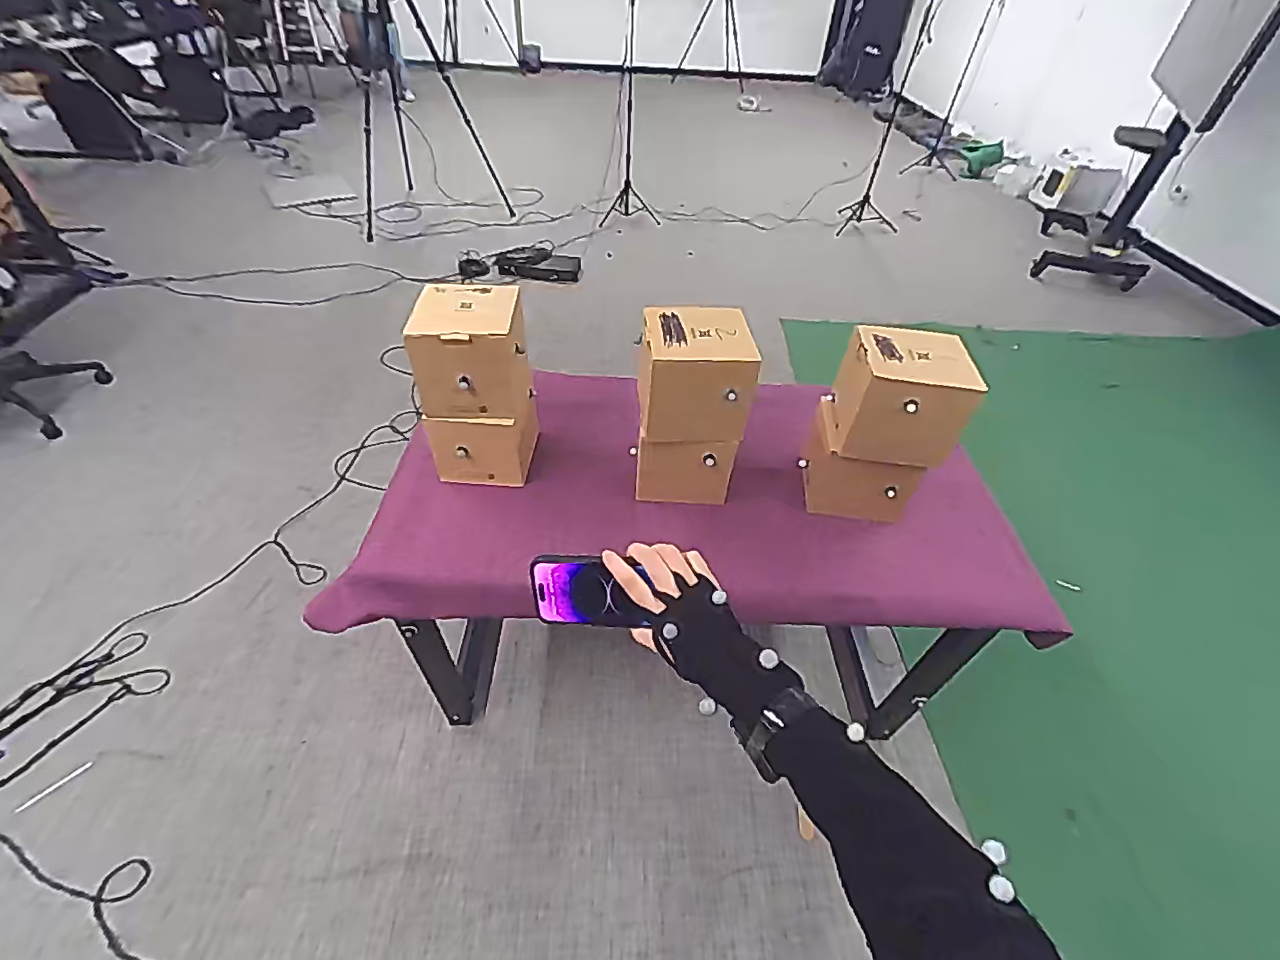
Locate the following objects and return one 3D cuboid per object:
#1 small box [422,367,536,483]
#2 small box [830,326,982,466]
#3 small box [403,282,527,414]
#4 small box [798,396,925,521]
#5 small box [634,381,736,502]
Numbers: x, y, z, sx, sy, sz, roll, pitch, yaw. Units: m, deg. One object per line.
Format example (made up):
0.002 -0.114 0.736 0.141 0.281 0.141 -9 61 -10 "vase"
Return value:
-0.306 -0.112 1.075 0.168 0.176 0.179 4 46 0 "small box"
0.437 -0.142 0.928 0.179 0.176 0.168 8 45 3 "small box"
-0.298 -0.232 0.963 0.168 0.176 0.179 1 46 -4 "small box"
0.421 -0.040 1.056 0.179 0.176 0.168 8 45 4 "small box"
0.082 -0.072 1.062 0.179 0.176 0.168 4 45 0 "small box"
